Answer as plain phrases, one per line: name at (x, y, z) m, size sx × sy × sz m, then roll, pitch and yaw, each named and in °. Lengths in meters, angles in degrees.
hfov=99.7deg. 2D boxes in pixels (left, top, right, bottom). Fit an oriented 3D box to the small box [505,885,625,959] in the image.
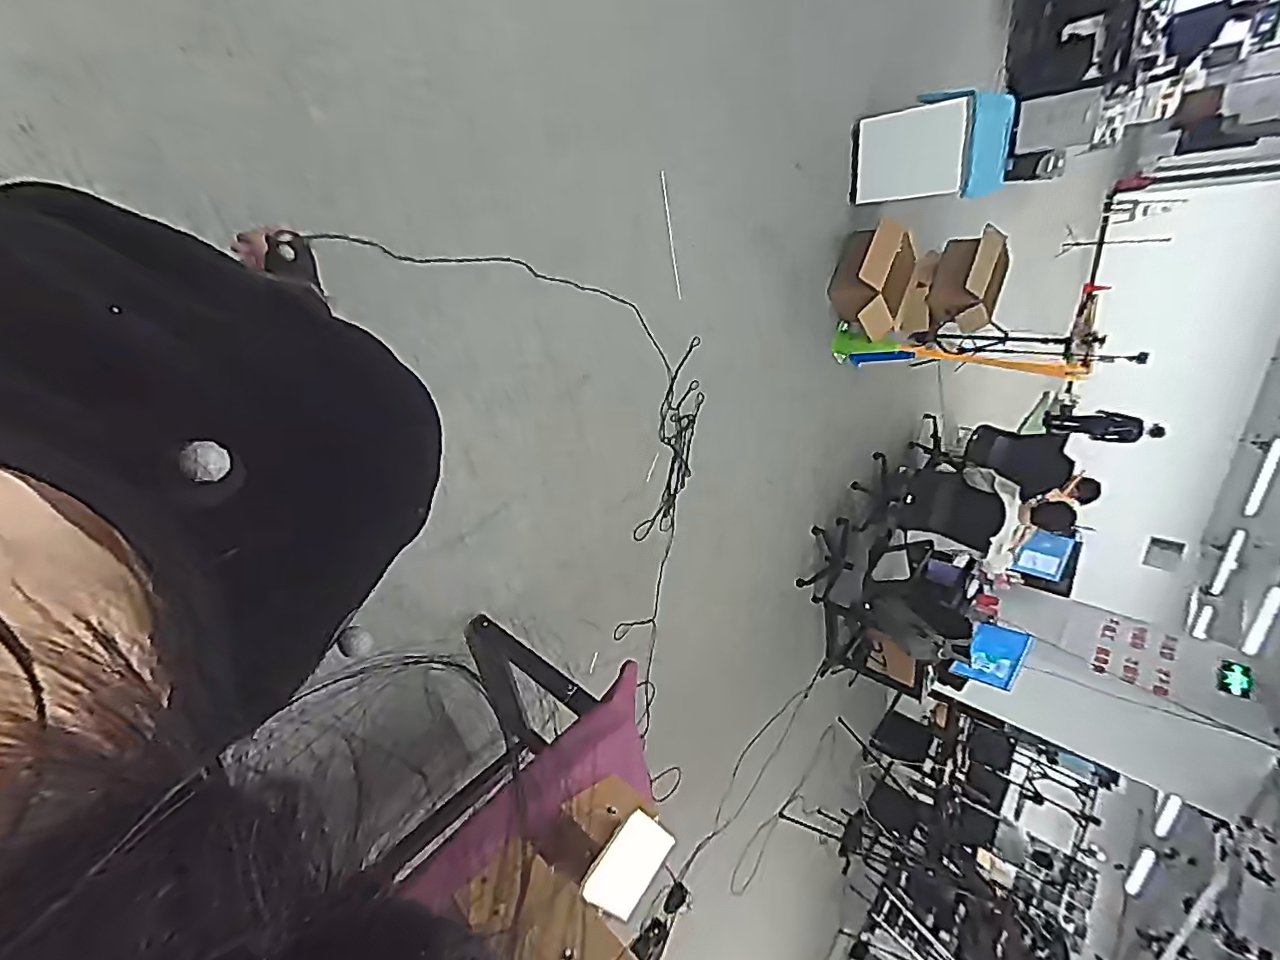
small box at (-0.136, 0.922, 1.005) m, size 0.179 × 0.176 × 0.168 m, roll -30°, pitch 124°, yaw -37°
